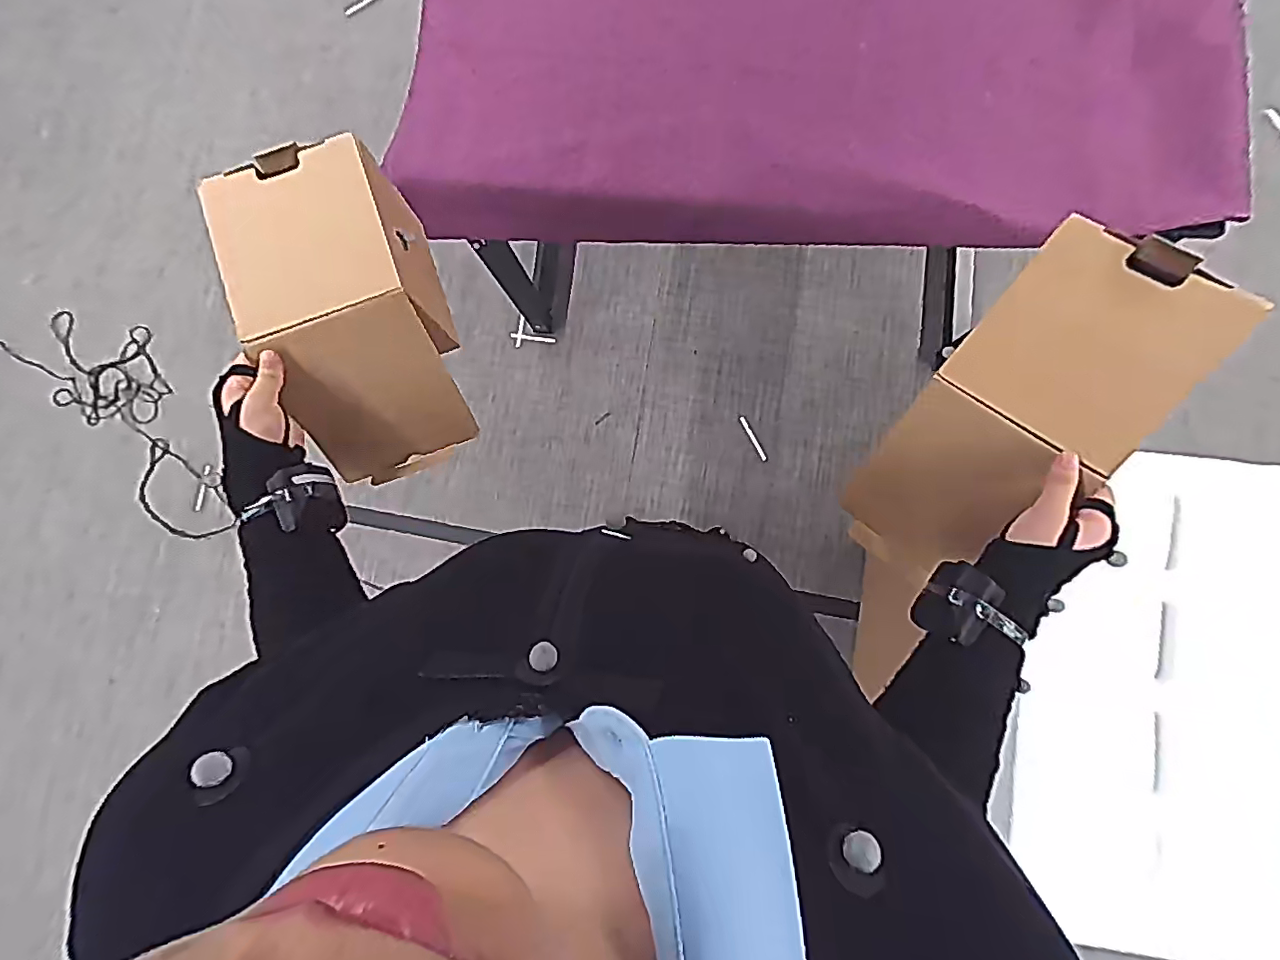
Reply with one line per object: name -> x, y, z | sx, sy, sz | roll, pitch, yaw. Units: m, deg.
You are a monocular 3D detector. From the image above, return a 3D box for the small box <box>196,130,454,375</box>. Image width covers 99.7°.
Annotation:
small box -> -0.329, -0.231, 0.601 | 0.168, 0.176, 0.179 | -19, 84, -2
